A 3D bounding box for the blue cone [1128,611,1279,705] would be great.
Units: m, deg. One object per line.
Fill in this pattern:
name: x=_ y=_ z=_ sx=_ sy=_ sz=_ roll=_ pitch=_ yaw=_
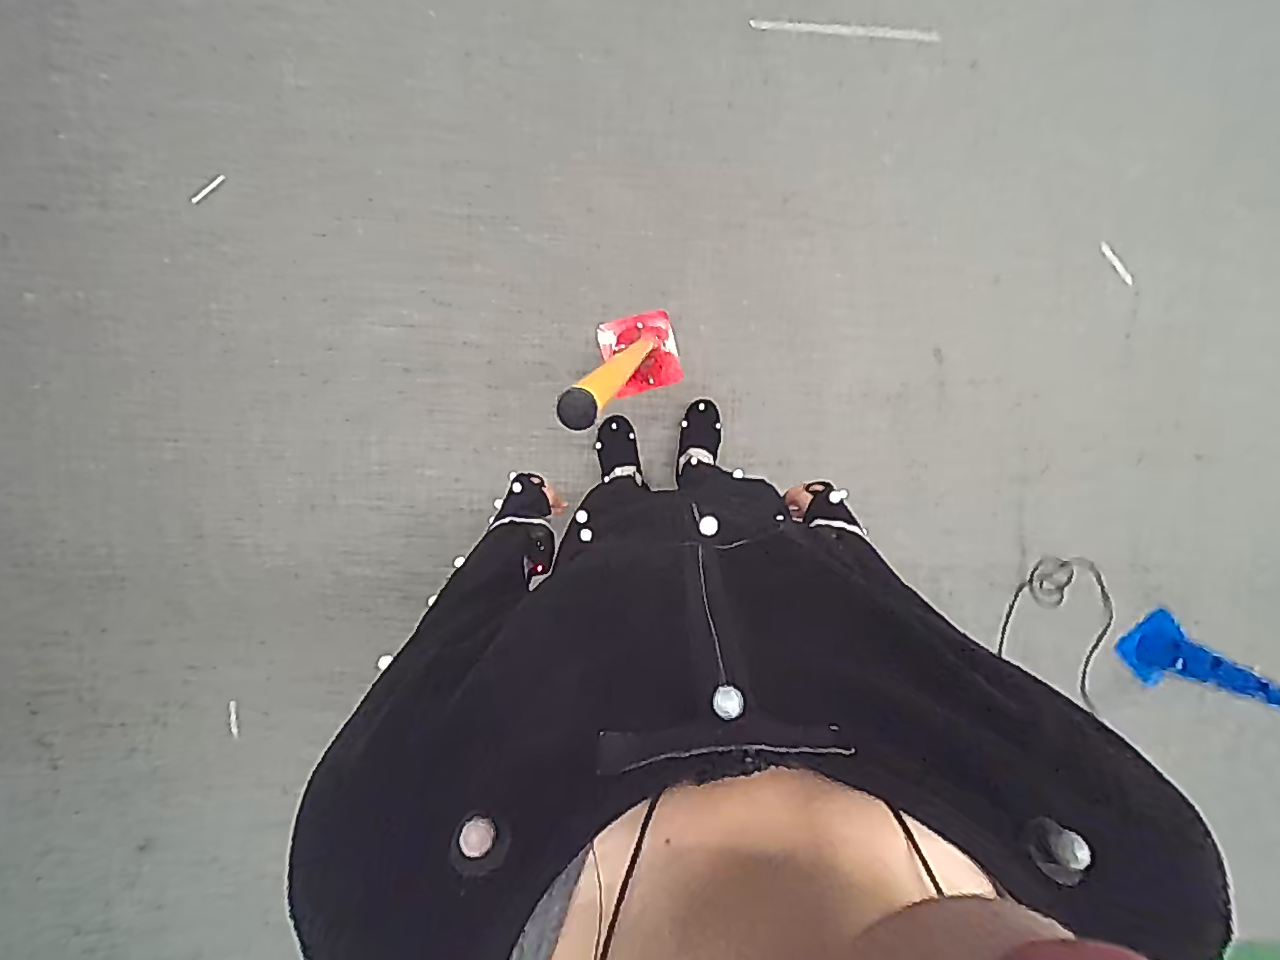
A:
blue cone: x=1.611 y=0.528 z=1.487 sx=0.193 sy=0.380 sz=0.192 roll=-45 pitch=97 yaw=1
